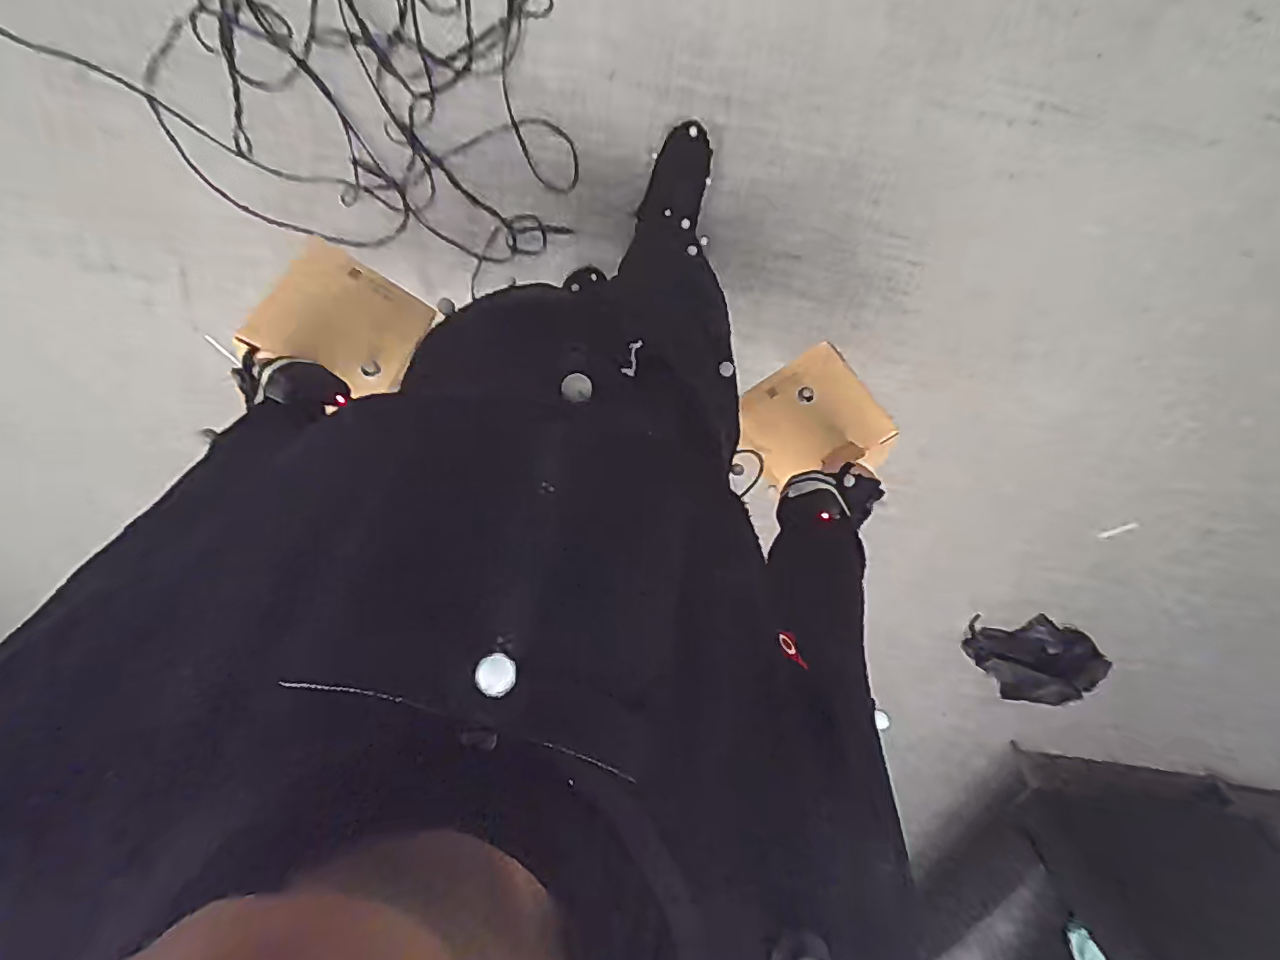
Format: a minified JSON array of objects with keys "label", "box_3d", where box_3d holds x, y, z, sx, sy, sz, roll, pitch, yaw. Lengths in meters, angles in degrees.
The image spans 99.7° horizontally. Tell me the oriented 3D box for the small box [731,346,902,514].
[{"label":"small box","box_3d":[0.257,-0.071,0.814,0.168,0.176,0.179,-33,161,8]}]
